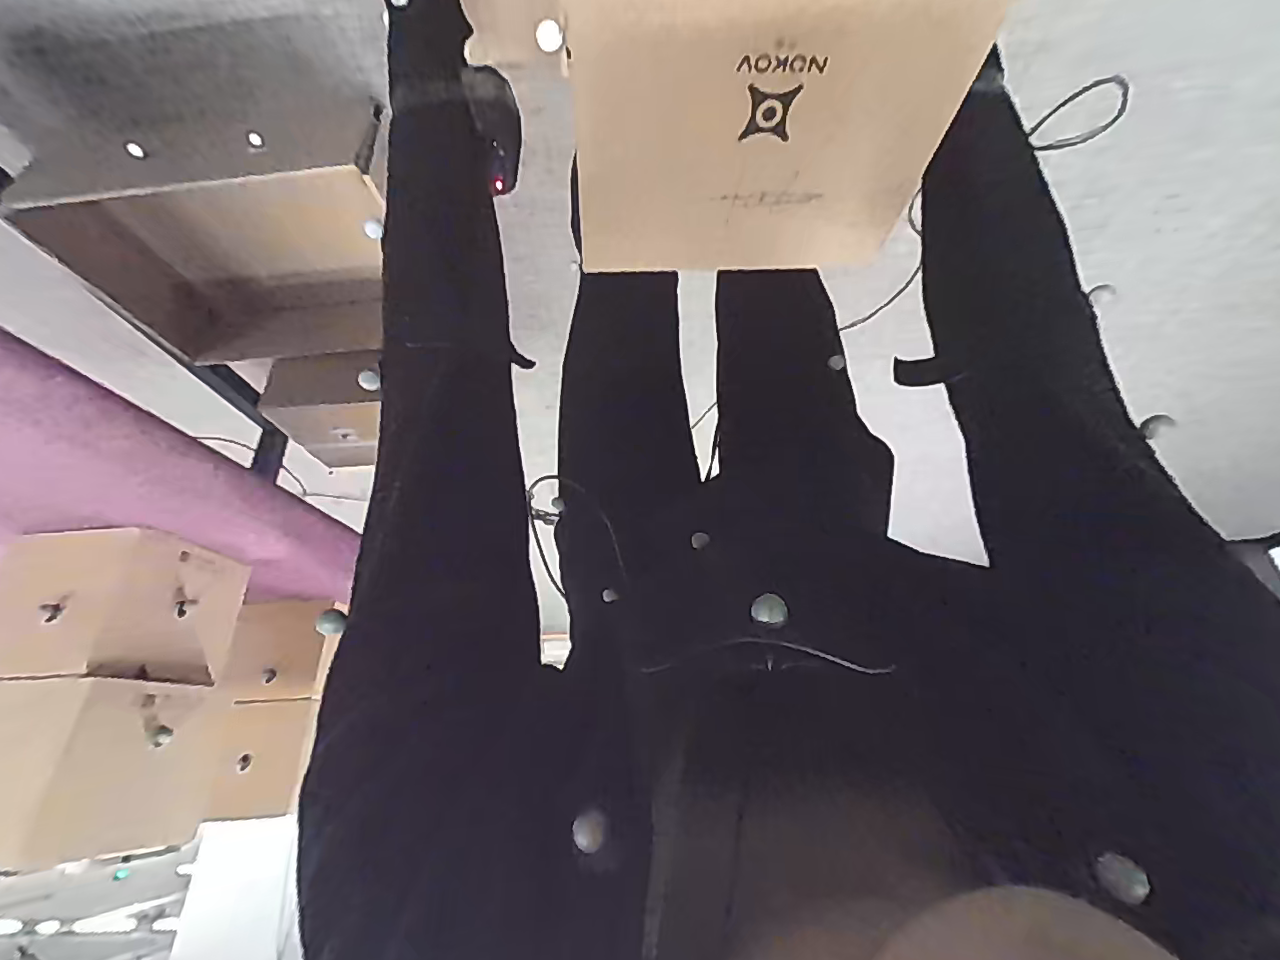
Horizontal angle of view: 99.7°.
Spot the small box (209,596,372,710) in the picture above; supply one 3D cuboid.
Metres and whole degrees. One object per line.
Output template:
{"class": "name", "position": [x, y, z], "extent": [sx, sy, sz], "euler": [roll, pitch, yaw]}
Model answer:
{"class": "small box", "position": [-0.616, 0.315, 0.976], "extent": [0.179, 0.176, 0.168], "euler": [-3, 153, 1]}

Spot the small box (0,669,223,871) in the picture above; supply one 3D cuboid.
{"class": "small box", "position": [-0.610, 0.306, 0.588], "extent": [0.179, 0.176, 0.168], "euler": [-8, 154, 11]}

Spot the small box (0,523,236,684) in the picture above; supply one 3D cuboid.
{"class": "small box", "position": [-0.639, 0.157, 0.658], "extent": [0.179, 0.176, 0.168], "euler": [-5, 153, 6]}

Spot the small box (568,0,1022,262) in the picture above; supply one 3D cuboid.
{"class": "small box", "position": [0.050, -0.231, 0.254], "extent": [0.168, 0.176, 0.179], "euler": [-2, 154, -5]}
